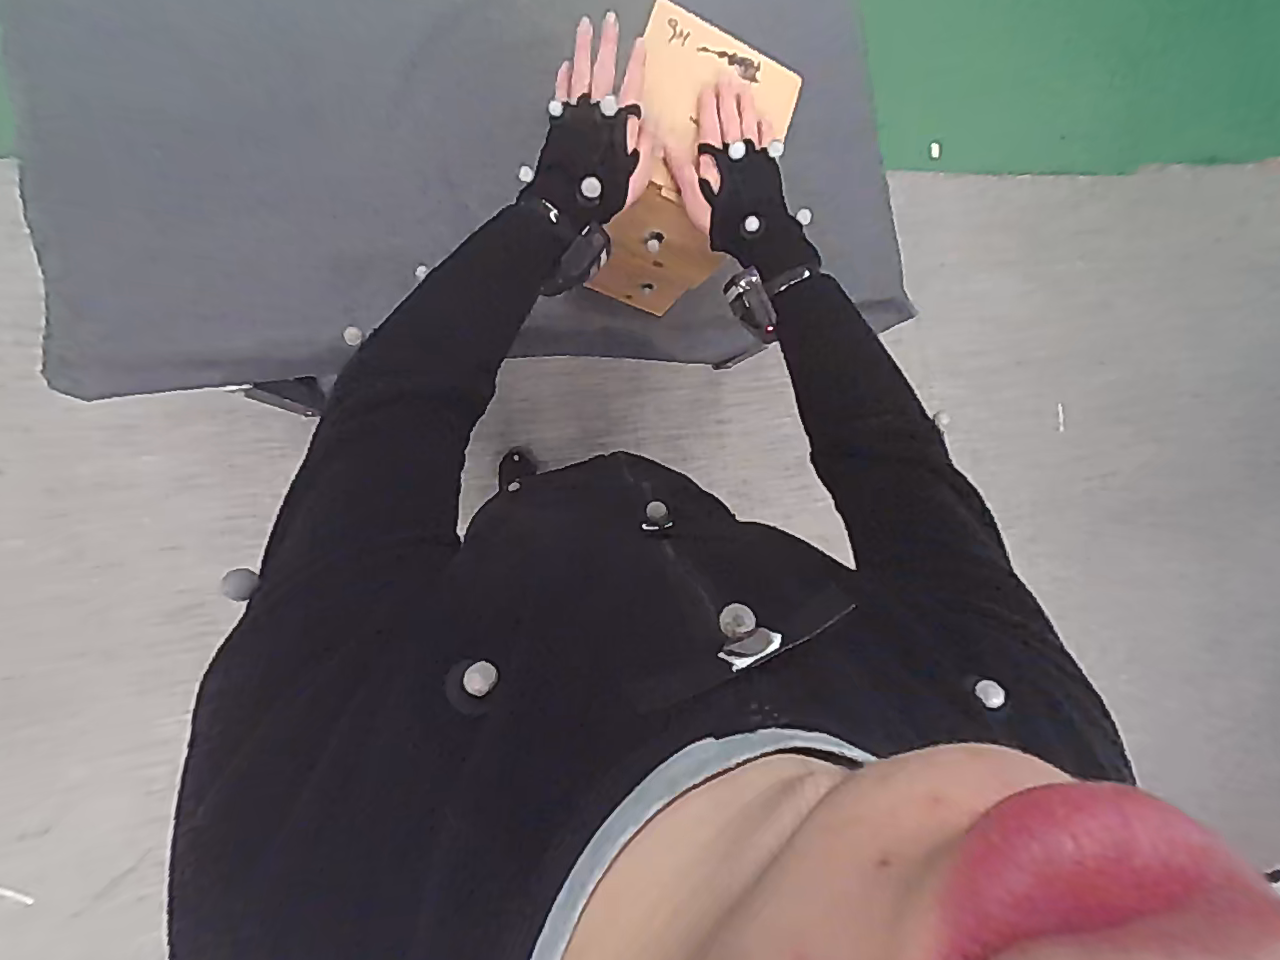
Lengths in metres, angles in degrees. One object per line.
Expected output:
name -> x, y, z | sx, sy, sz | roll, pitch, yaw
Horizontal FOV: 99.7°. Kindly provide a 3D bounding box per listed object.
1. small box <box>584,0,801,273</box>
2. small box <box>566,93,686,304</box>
small box -> 0.044, -0.360, 0.601 | 0.168, 0.176, 0.179 | 18, 87, -15
small box -> 0.000, -0.374, 0.758 | 0.168, 0.176, 0.179 | 18, 85, -15
